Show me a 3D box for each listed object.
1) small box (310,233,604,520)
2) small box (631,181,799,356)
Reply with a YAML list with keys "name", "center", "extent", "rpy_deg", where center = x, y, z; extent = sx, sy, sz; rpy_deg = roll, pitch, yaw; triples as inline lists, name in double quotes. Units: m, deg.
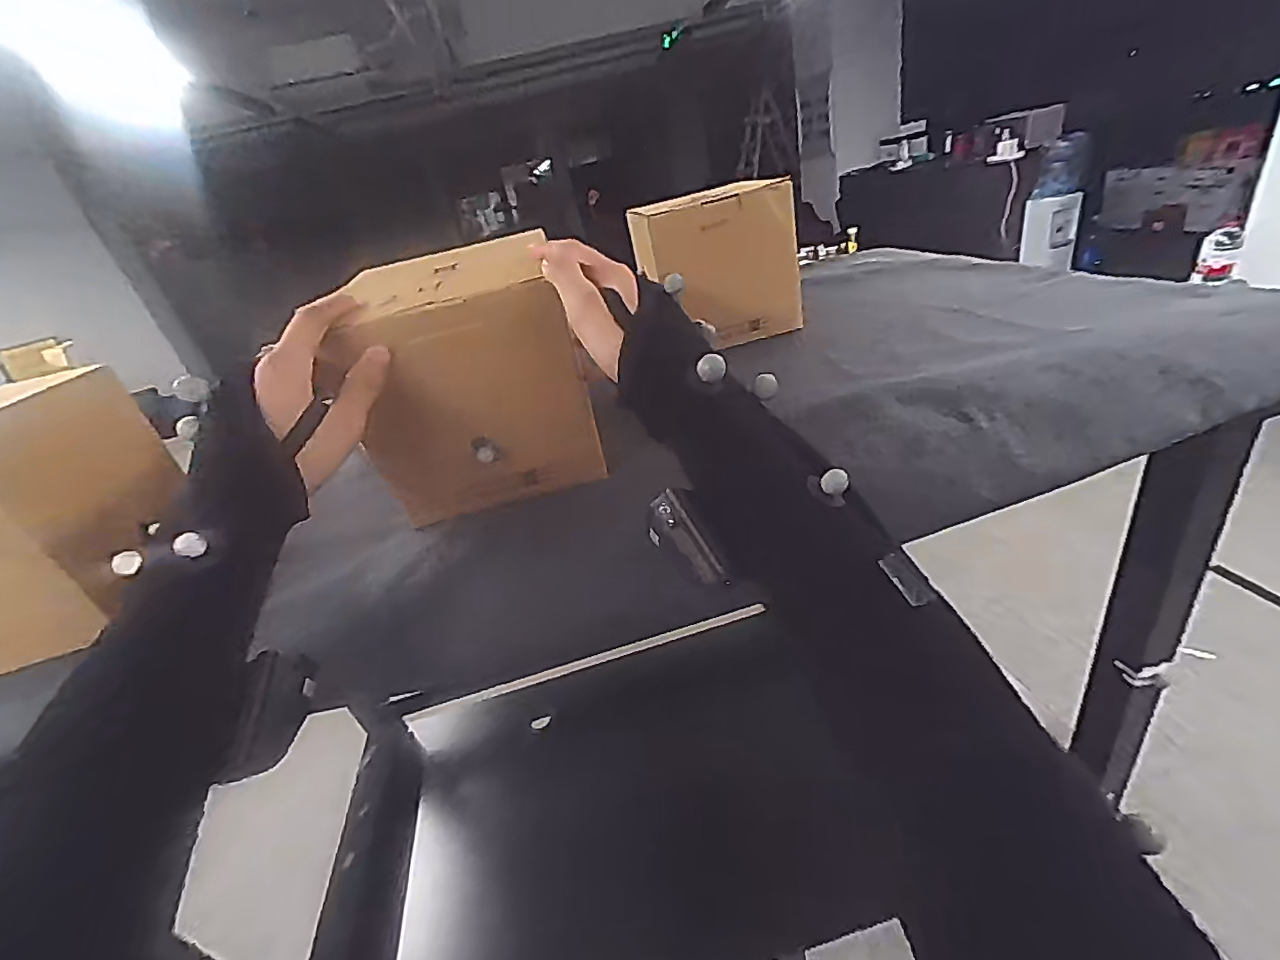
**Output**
- name: "small box"
  center: [-0.133, -0.093, 0.462]
  extent: [0.168, 0.176, 0.179]
  rpy_deg: [-14, 35, -2]
- name: "small box"
  center: [0.094, -0.270, 0.696]
  extent: [0.168, 0.176, 0.179]
  rpy_deg: [-14, 29, -2]
